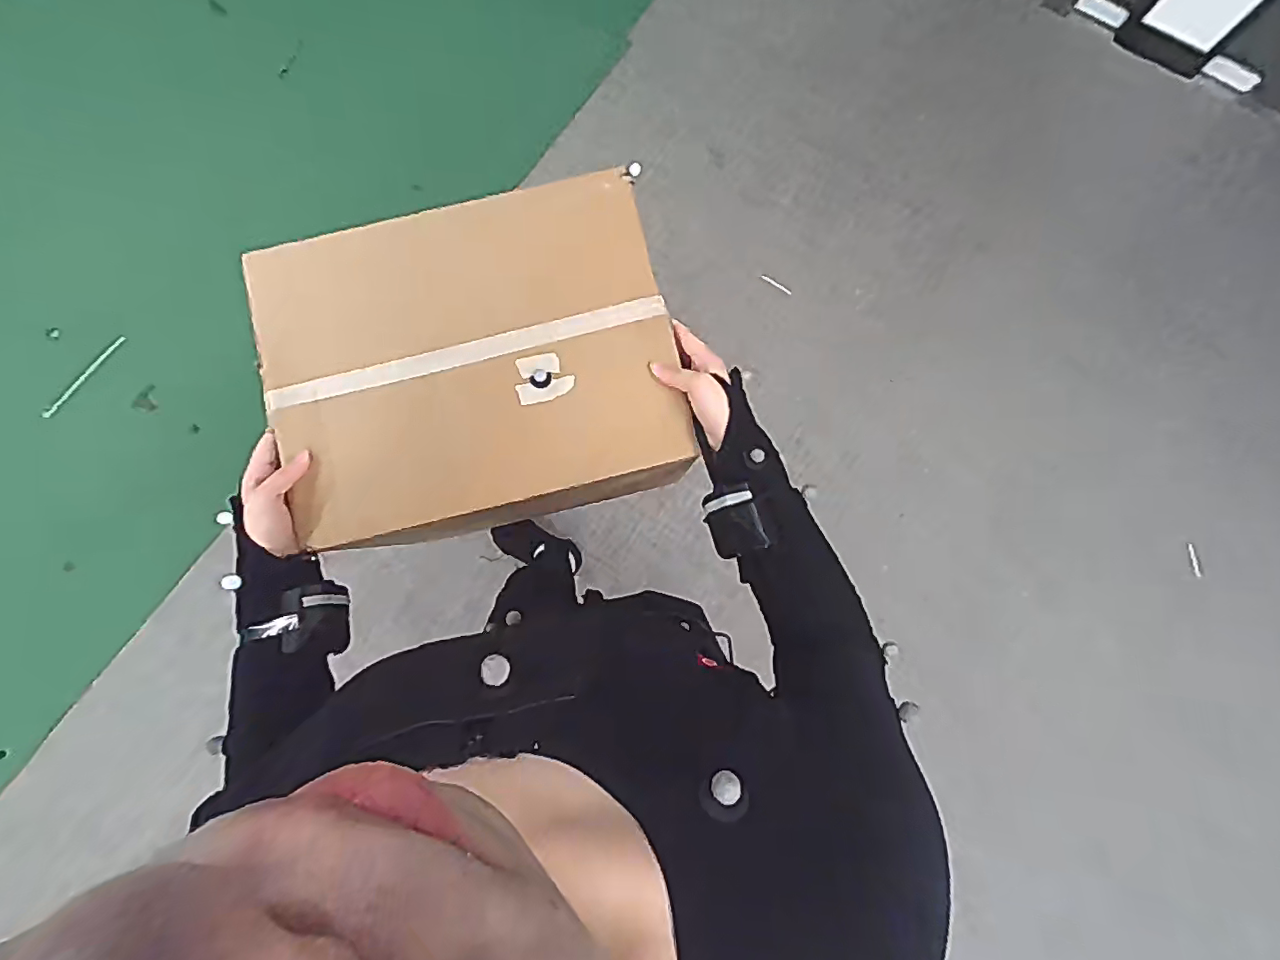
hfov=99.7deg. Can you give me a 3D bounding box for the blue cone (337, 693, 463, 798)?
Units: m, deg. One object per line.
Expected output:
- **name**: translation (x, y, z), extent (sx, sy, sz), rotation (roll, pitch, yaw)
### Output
- **blue cone**: translation (-0.578, 0.656, 1.253), extent (0.192, 0.380, 0.193), rotation (43, 82, 8)

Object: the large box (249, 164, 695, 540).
- **large box**: translation (-0.177, -0.124, 0.697), extent (0.408, 0.320, 0.320), rotation (-15, 86, -3)
